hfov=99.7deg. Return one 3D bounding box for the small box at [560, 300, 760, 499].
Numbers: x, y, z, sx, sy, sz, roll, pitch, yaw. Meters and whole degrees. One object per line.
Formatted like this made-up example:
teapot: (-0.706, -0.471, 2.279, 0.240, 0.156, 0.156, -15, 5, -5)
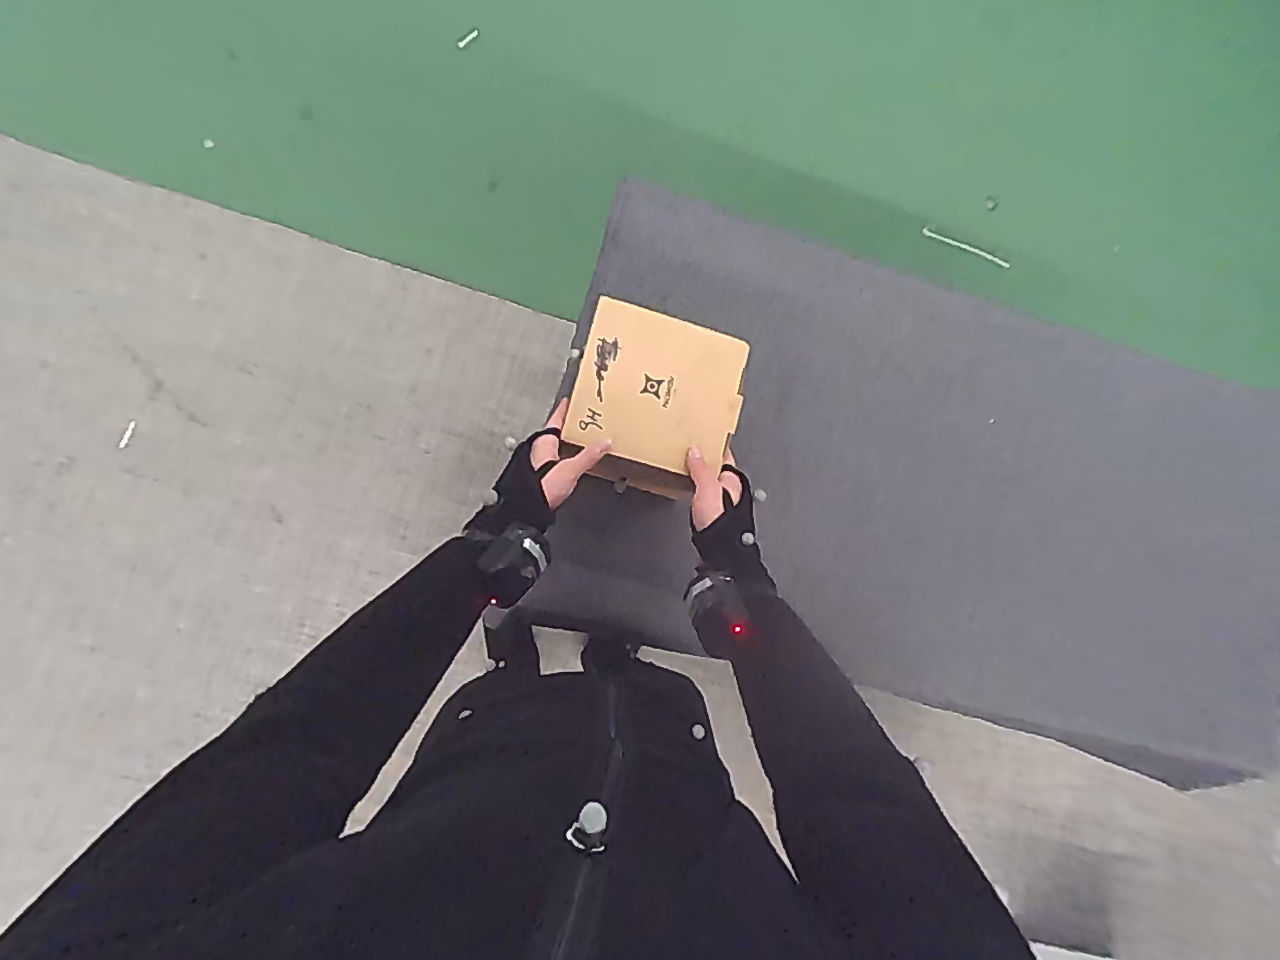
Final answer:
small box: (0.014, -0.080, 0.646, 0.179, 0.176, 0.168, 17, 79, -10)
